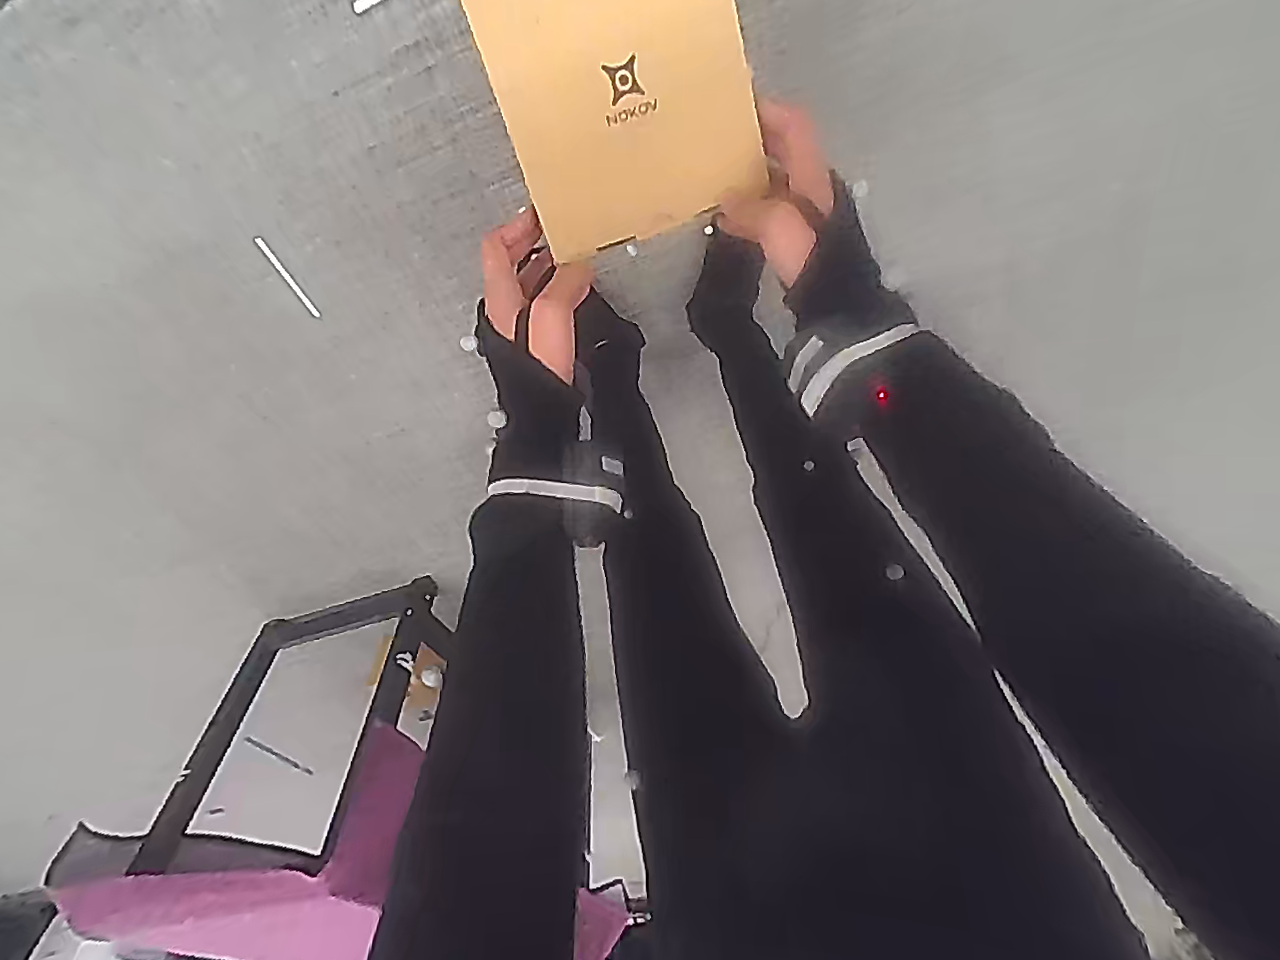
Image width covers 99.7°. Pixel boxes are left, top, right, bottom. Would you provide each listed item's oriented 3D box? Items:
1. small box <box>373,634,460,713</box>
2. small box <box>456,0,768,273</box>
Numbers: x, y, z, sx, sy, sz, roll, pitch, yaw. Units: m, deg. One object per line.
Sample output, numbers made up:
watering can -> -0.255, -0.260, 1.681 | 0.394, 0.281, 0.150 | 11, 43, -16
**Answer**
small box -> -0.690, 0.597, 1.689 | 0.168, 0.176, 0.179 | -16, 131, 11
small box -> -0.022, -0.276, 0.424 | 0.168, 0.176, 0.179 | -20, 114, 0
